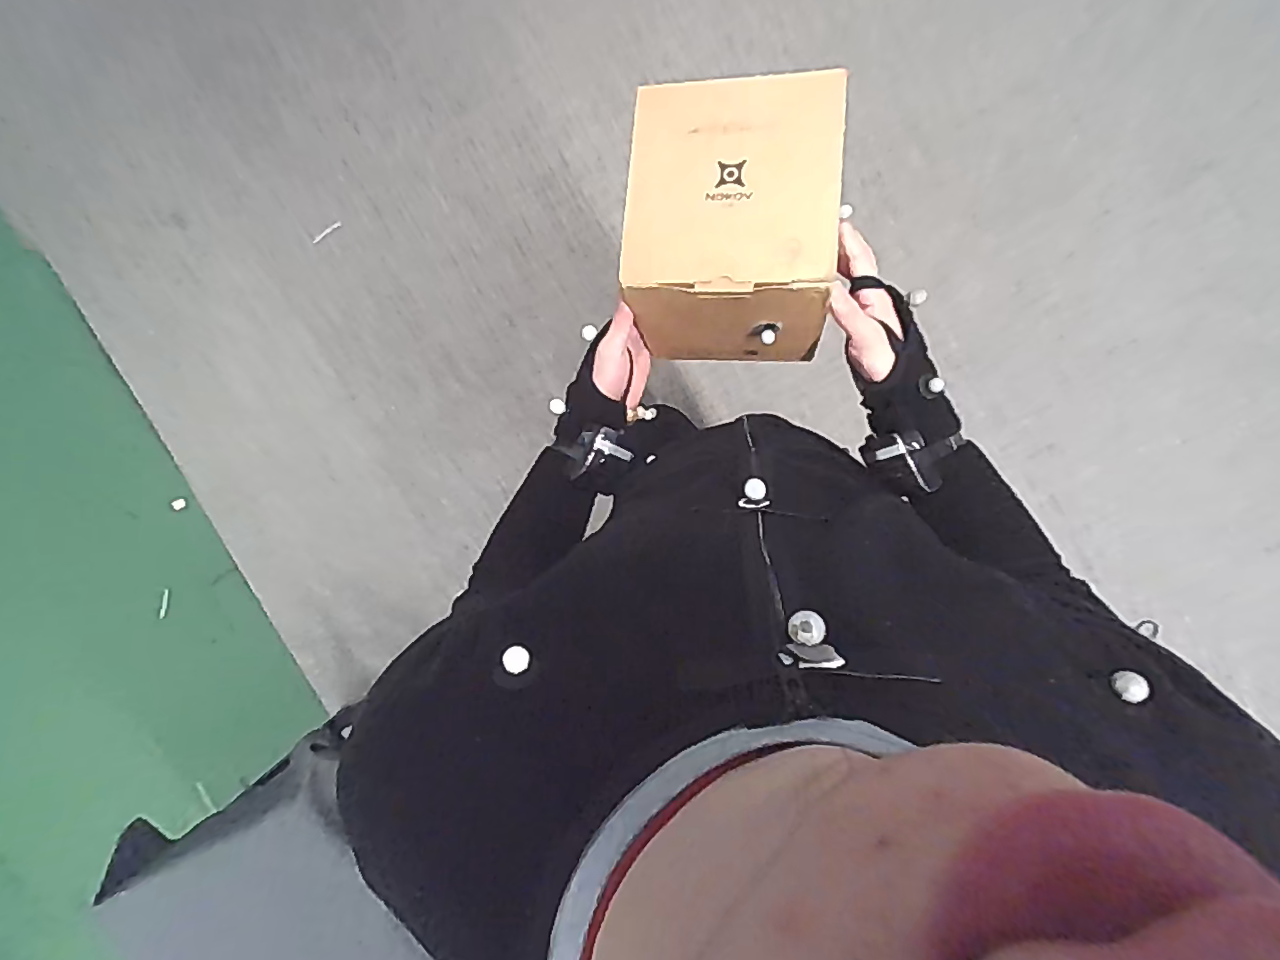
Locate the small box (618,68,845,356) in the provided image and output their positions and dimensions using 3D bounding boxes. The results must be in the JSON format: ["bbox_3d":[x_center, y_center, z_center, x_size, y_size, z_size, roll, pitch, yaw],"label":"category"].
[{"bbox_3d":[0.084,-0.223,0.495,0.168,0.176,0.179,4,82,11],"label":"small box"}]
